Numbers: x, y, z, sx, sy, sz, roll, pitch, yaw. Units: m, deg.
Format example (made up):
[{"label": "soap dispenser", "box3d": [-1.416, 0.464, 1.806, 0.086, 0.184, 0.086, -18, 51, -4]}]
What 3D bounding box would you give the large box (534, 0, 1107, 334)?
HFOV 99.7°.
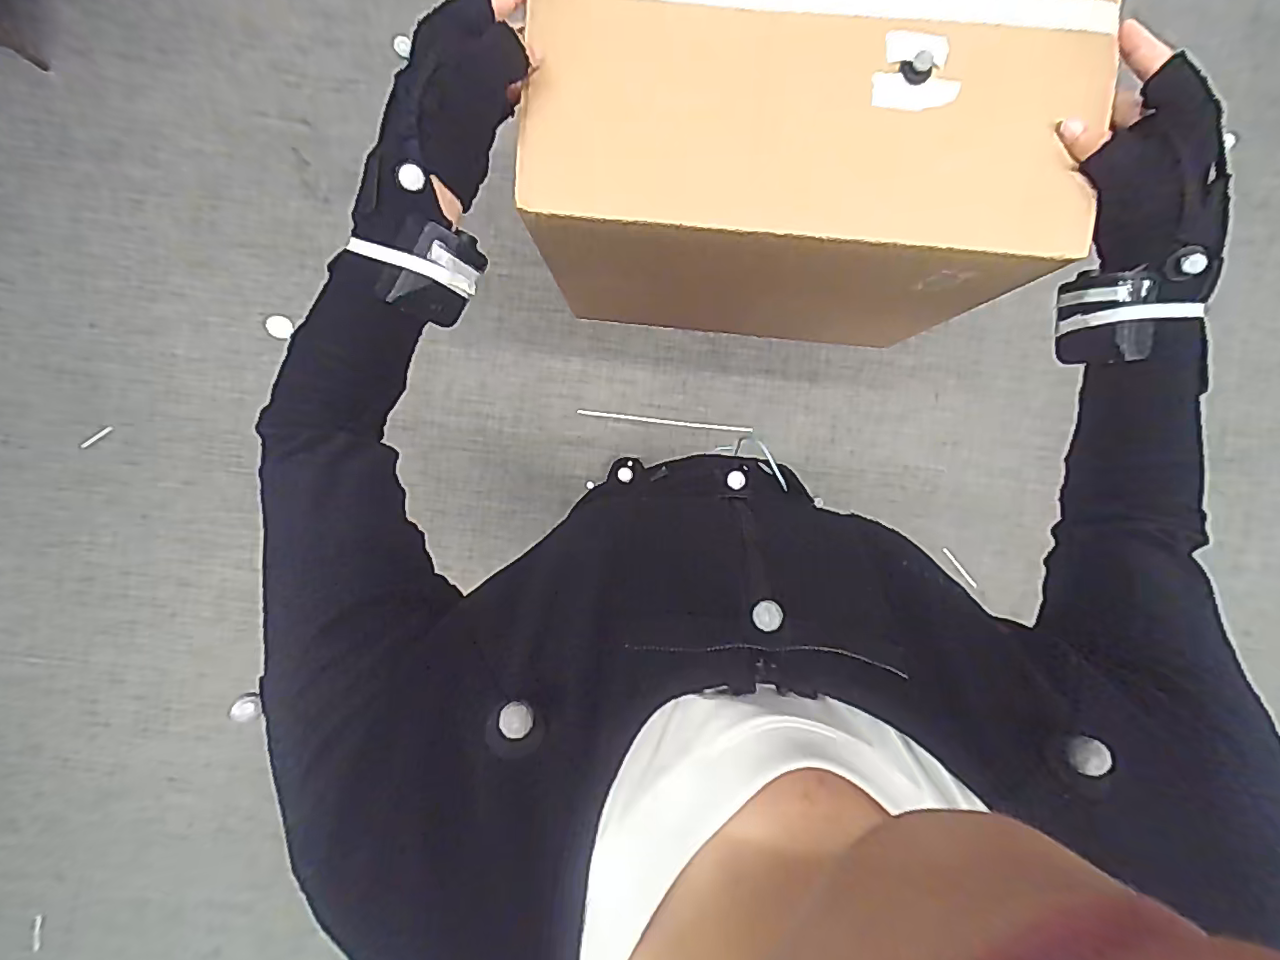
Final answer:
[{"label": "large box", "box3d": [0.129, -0.343, 0.532, 0.408, 0.320, 0.320, 5, 93, -1]}]
